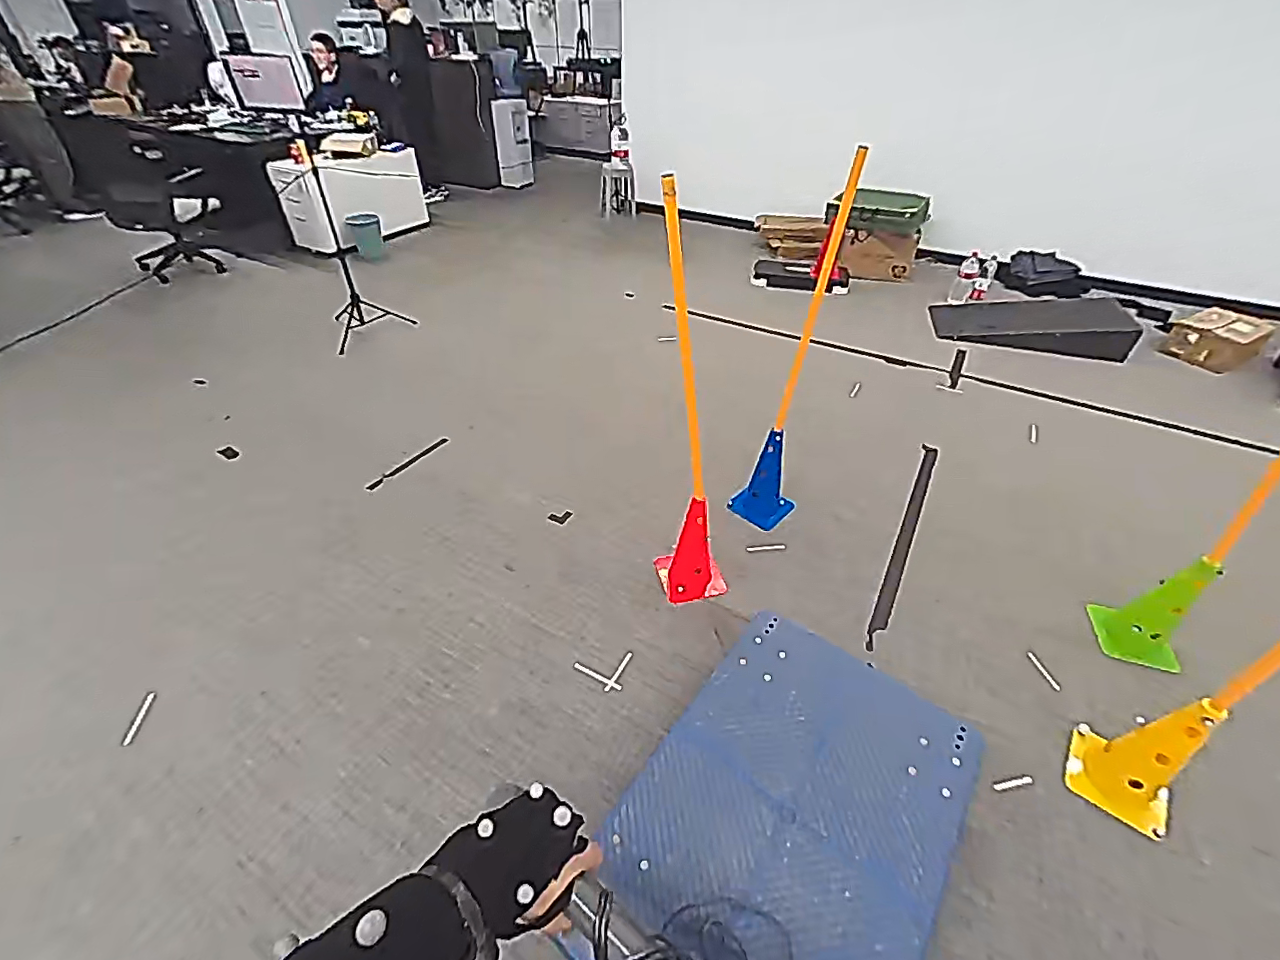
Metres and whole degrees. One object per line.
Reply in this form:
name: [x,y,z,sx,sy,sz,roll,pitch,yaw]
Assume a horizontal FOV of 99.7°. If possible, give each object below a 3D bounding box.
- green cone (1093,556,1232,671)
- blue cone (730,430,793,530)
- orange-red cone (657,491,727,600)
green cone: [1.505,0.341,1.522,0.200,0.368,0.202,12,42,12]
blue cone: [0.464,-0.023,1.949,0.192,0.380,0.193,-32,51,-32]
orange-red cone: [0.176,0.178,1.678,0.199,0.360,0.198,-7,42,-12]
